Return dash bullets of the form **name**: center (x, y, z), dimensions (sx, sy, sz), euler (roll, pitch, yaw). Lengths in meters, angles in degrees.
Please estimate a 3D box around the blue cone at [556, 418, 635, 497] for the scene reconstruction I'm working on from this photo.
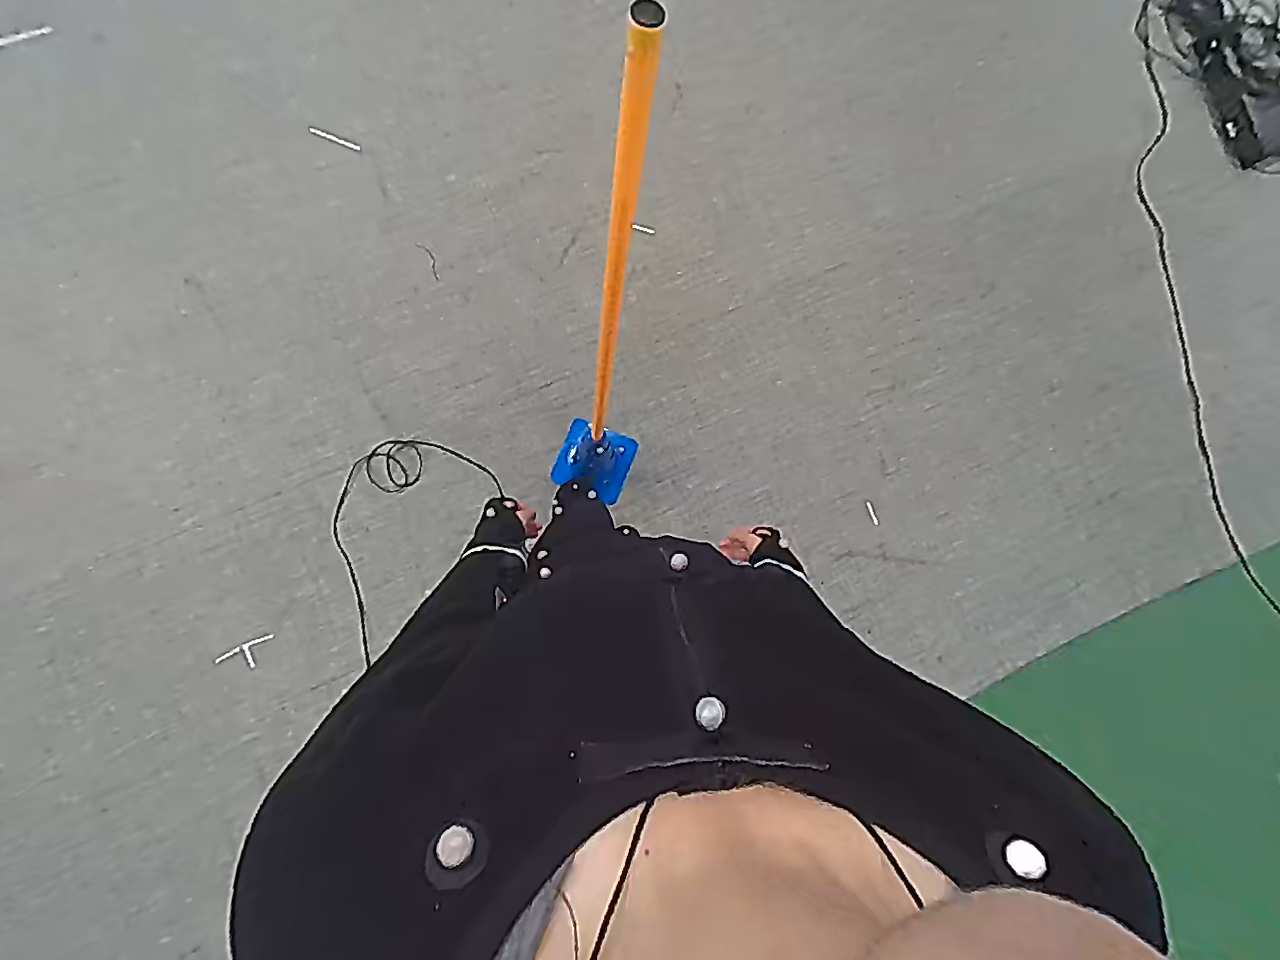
- **blue cone**: center (-0.106, -0.084, 1.330), dimensions (0.192, 0.380, 0.193), euler (22, 81, -3)
